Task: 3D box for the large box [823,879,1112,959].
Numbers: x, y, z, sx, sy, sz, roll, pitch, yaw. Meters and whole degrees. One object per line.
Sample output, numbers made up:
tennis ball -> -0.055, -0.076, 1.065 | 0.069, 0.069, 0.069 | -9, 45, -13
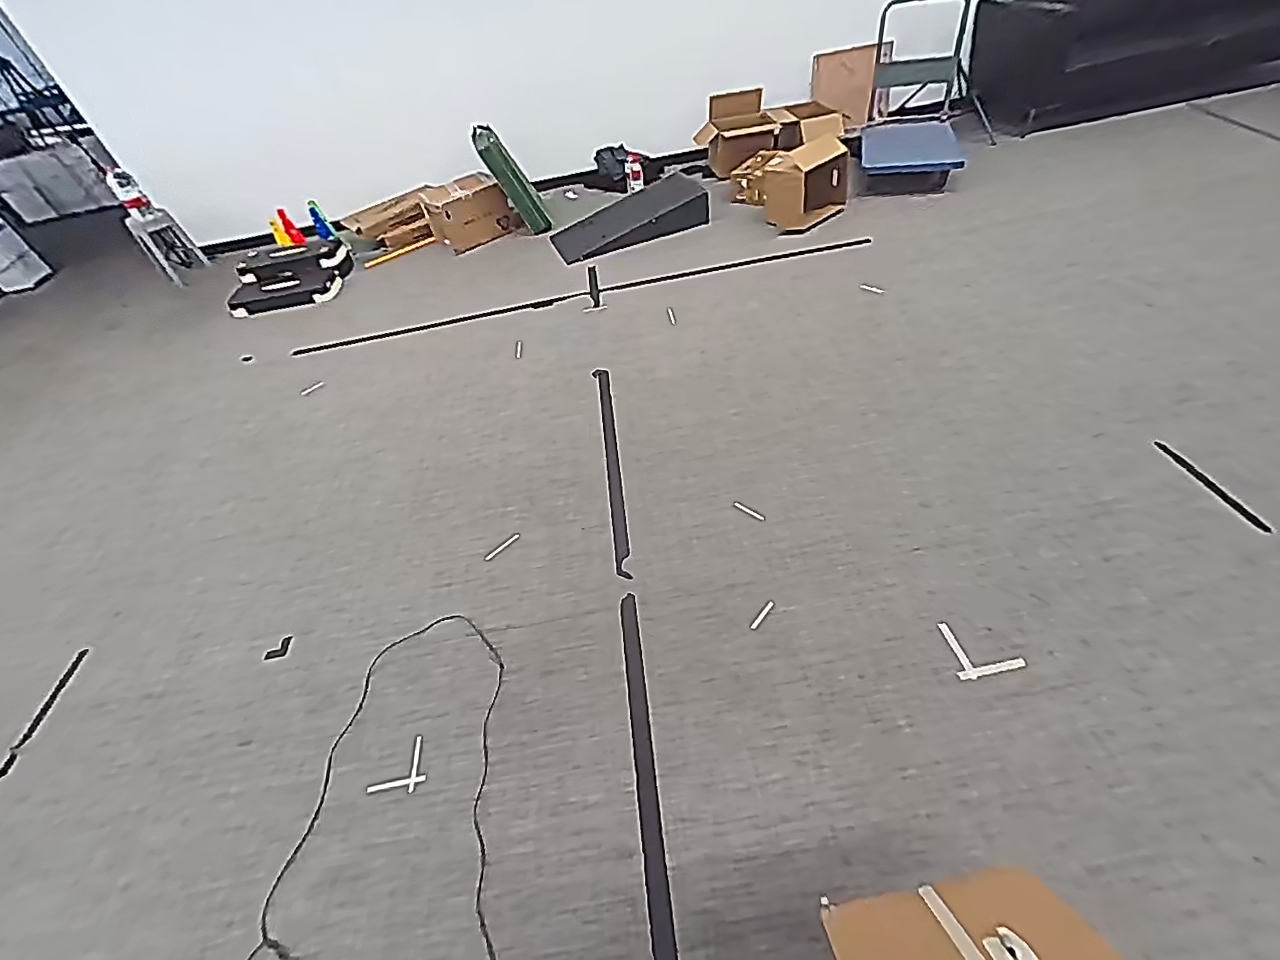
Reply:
large box -> 0.442, 0.741, 0.584 | 0.320, 0.408, 0.320 | -11, 83, 2
